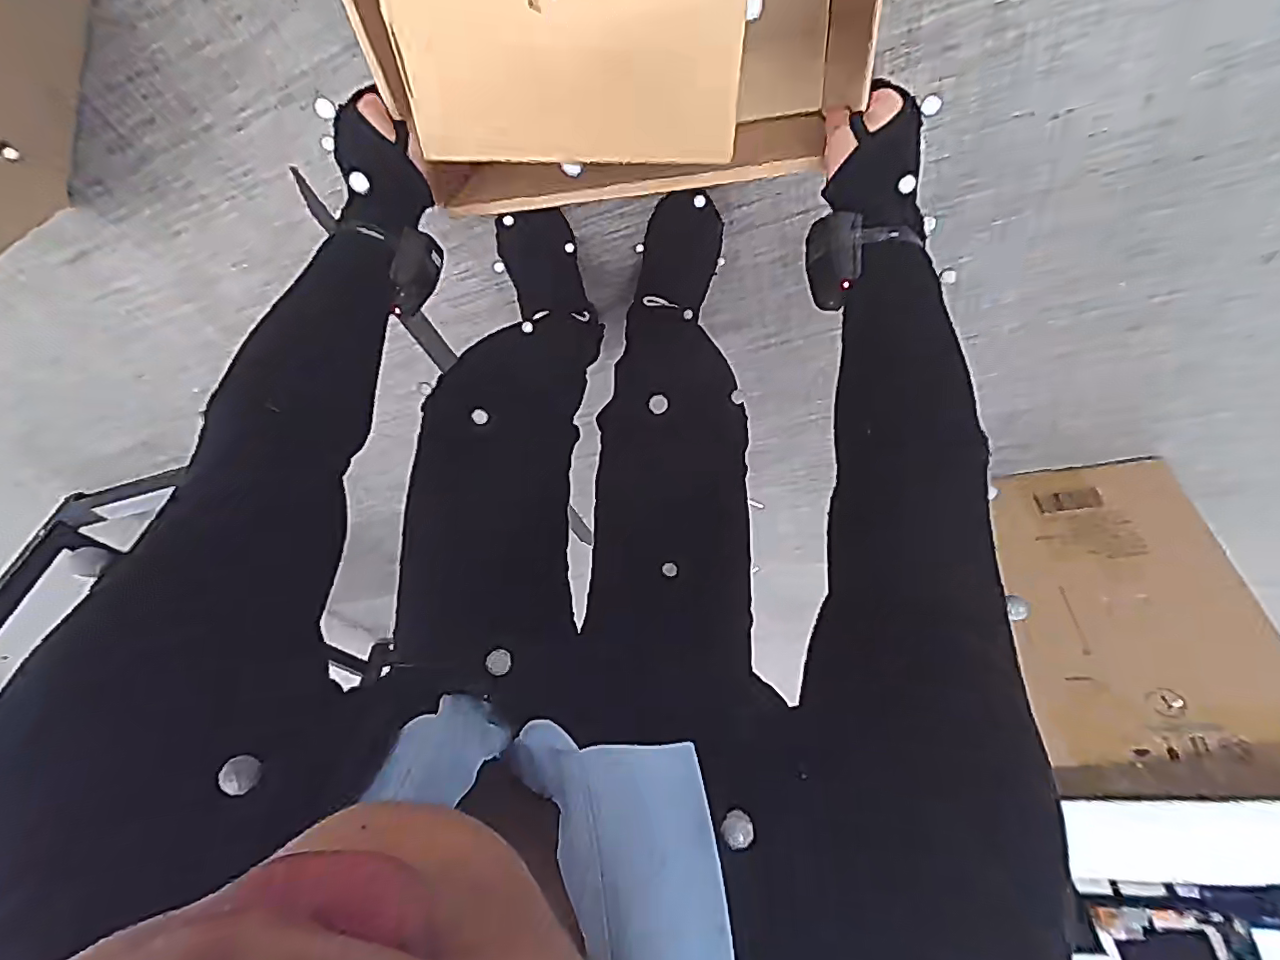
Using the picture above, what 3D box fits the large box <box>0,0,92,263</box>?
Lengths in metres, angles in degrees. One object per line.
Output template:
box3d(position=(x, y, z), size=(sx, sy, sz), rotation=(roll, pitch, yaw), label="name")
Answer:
box3d(position=(-0.792, -0.423, 0.493), size=(0.320, 0.320, 0.408), rotation=(32, 135, -32), label="large box")
